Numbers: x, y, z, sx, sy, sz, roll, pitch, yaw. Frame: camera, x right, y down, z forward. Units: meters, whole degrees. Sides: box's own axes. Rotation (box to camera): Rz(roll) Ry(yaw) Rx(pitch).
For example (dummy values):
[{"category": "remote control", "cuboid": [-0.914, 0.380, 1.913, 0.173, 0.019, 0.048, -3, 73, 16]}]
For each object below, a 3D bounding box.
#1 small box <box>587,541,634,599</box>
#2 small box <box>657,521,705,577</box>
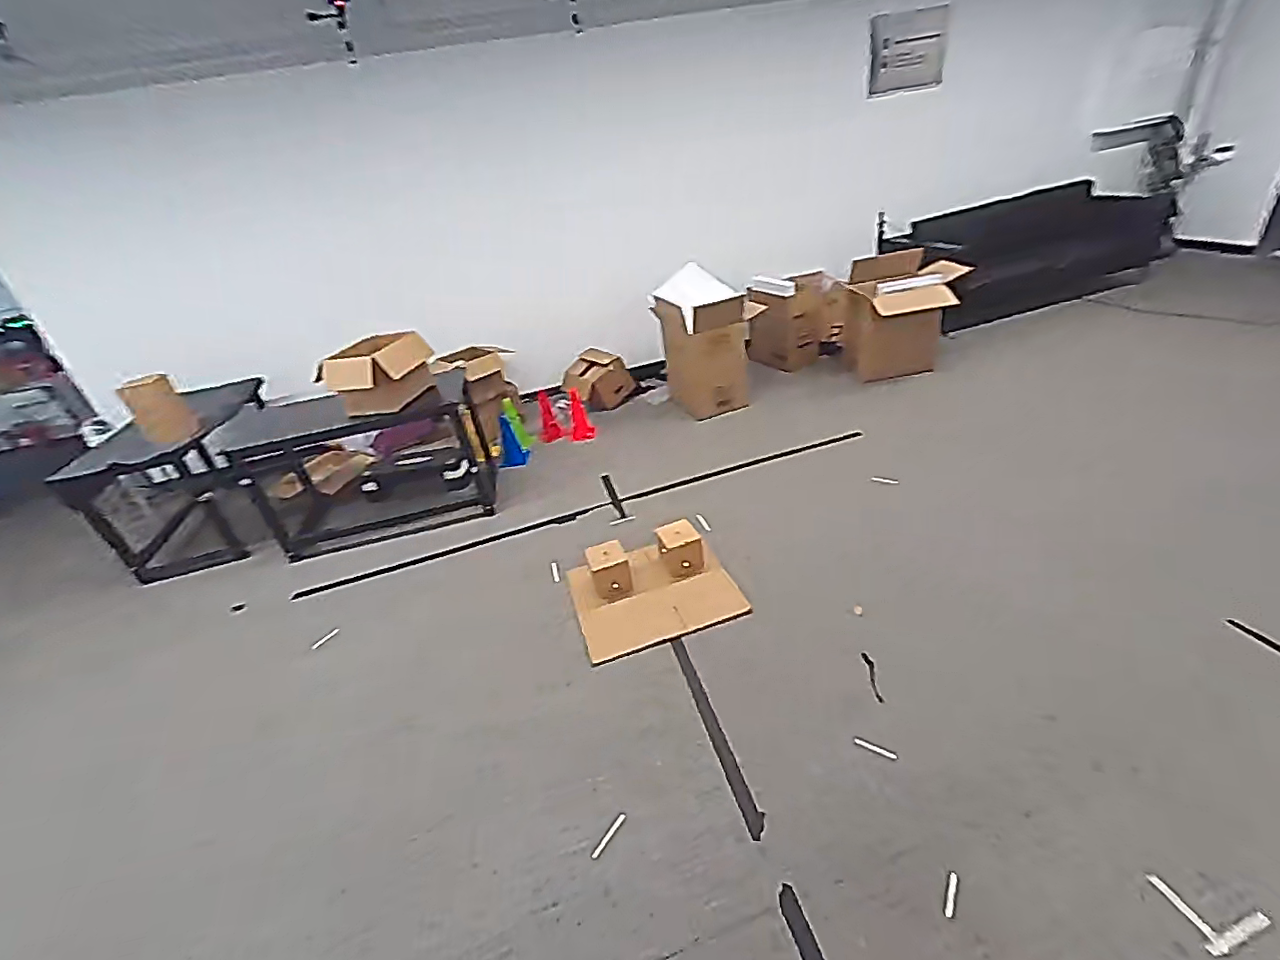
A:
[{"category": "small box", "cuboid": [-0.135, 0.413, 2.472, 0.168, 0.176, 0.179, -17, 31, -10]}, {"category": "small box", "cuboid": [0.192, 0.325, 2.532, 0.168, 0.176, 0.179, -18, 32, -13]}]
